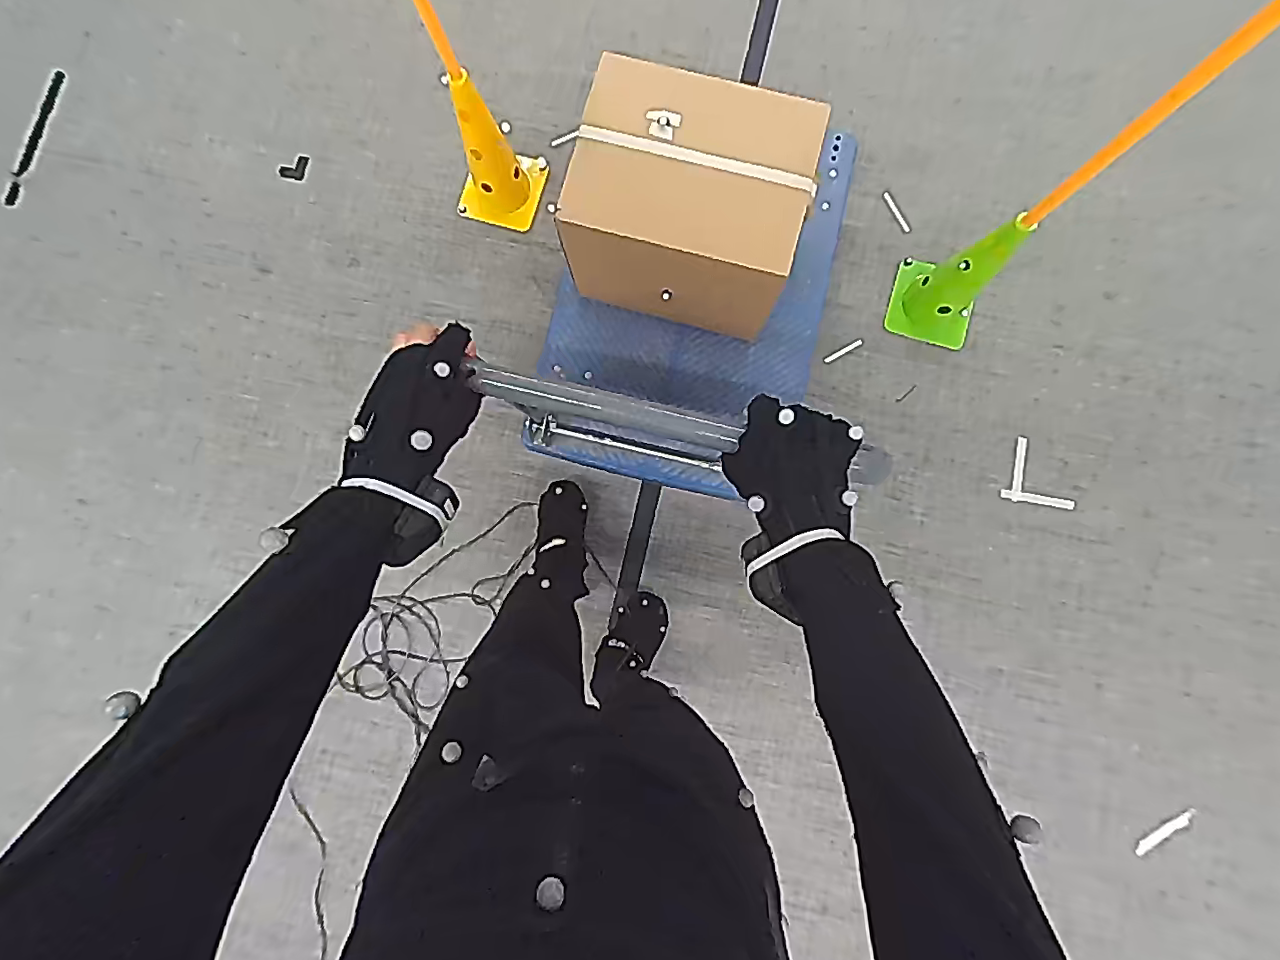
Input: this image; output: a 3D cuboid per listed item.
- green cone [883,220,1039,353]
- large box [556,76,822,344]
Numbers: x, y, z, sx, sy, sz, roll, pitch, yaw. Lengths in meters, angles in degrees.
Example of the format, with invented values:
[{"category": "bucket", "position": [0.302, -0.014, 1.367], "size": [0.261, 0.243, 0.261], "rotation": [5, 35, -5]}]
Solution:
[{"category": "green cone", "position": [0.727, -0.451, 1.193], "size": [0.202, 0.368, 0.200], "rotation": [17, 85, 2]}, {"category": "large box", "position": [0.093, -0.502, 1.073], "size": [0.408, 0.320, 0.320], "rotation": [16, 85, 4]}]
